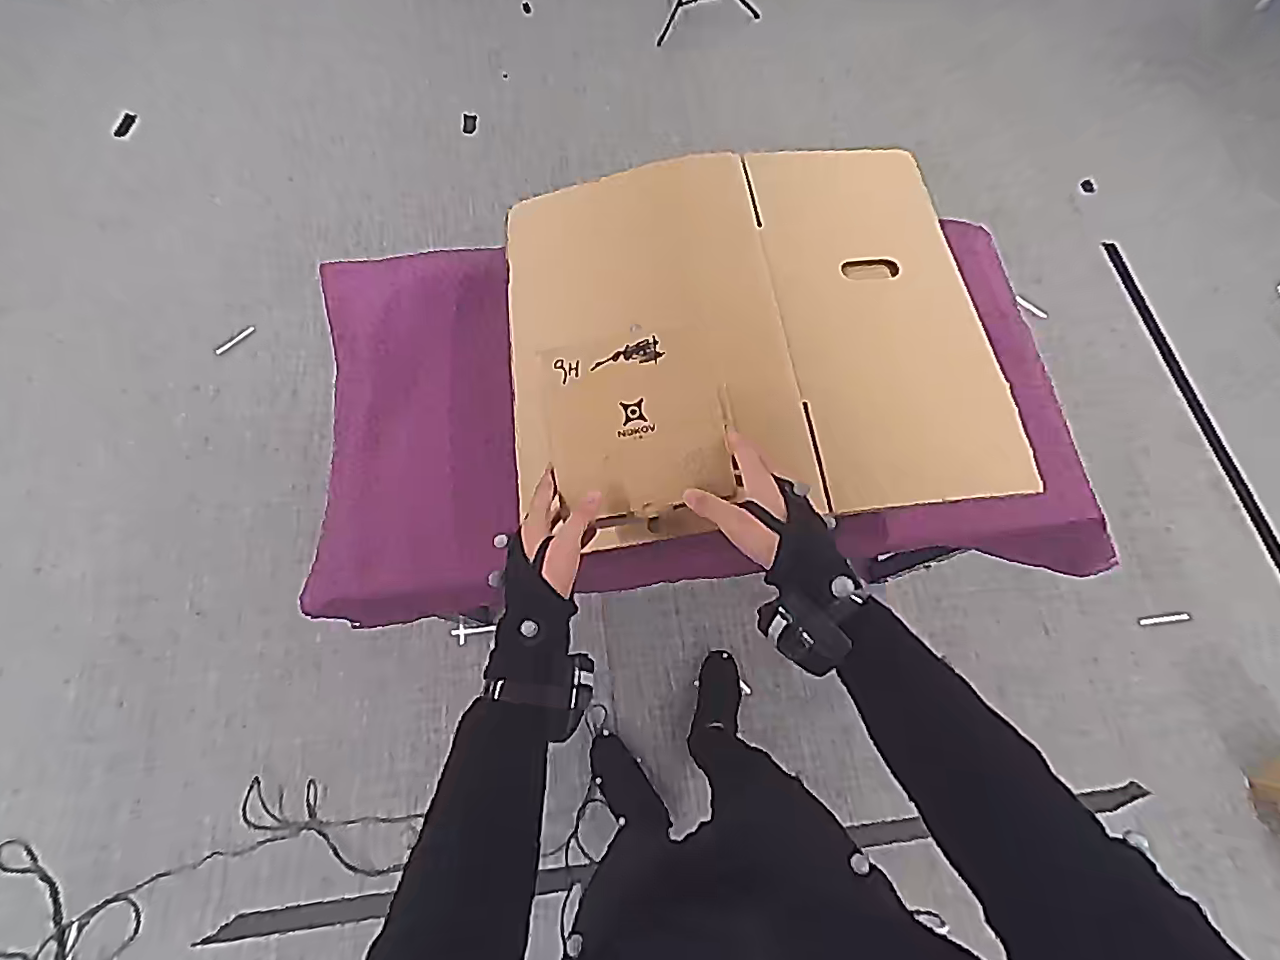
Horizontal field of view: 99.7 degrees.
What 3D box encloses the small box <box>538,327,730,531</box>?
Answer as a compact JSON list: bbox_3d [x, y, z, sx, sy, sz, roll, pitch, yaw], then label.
[{"bbox_3d":[-0.002,-0.043,0.594,0.168,0.176,0.179,-10,83,2],"label":"small box"}]
